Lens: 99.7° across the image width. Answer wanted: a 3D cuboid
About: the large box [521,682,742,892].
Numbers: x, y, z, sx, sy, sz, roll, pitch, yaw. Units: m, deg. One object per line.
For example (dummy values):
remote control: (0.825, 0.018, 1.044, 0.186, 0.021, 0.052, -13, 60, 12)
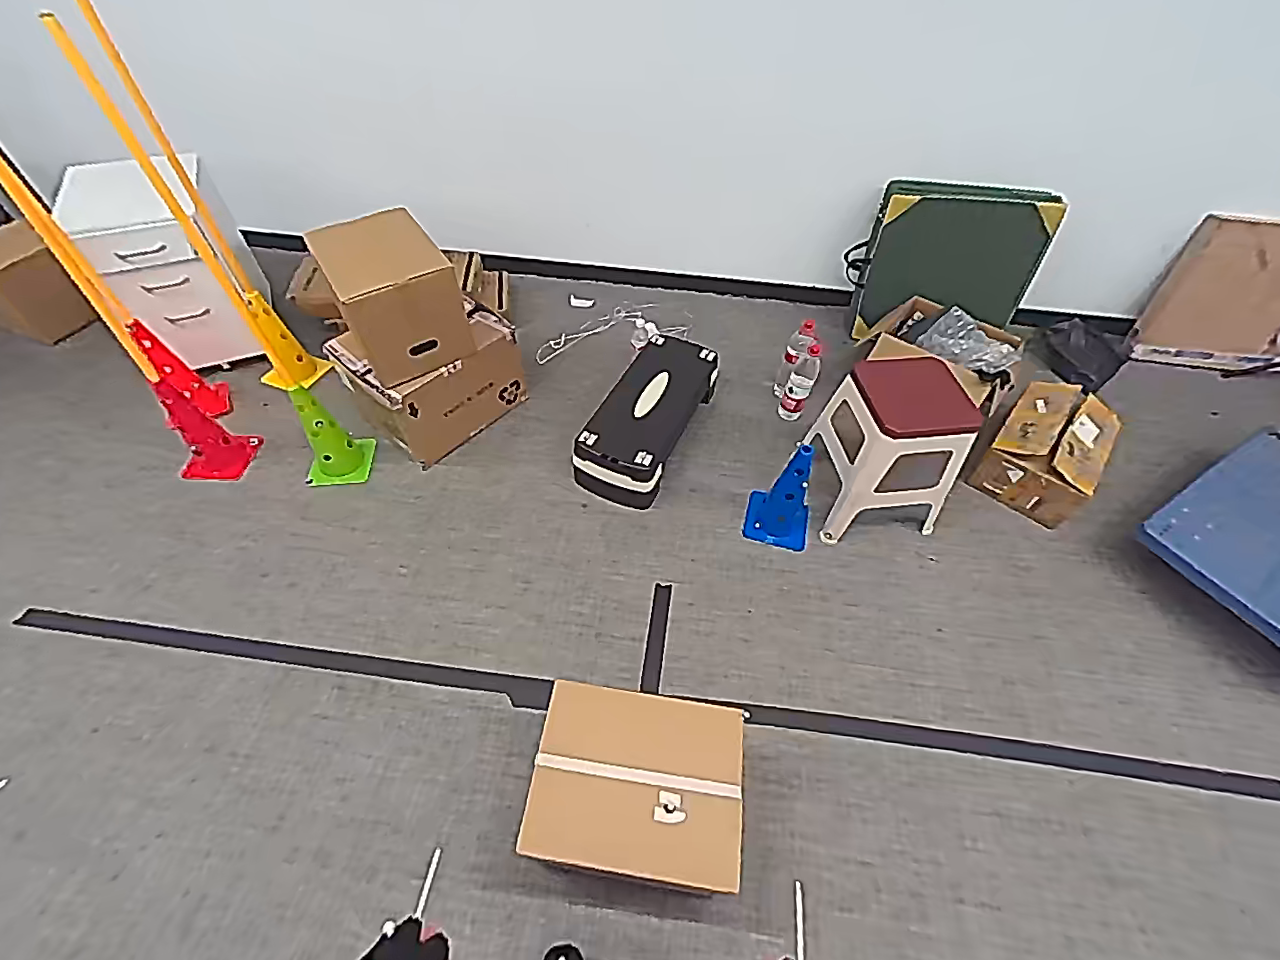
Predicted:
large box: (-0.011, 0.668, 1.170, 0.408, 0.320, 0.320, 9, 53, 3)
